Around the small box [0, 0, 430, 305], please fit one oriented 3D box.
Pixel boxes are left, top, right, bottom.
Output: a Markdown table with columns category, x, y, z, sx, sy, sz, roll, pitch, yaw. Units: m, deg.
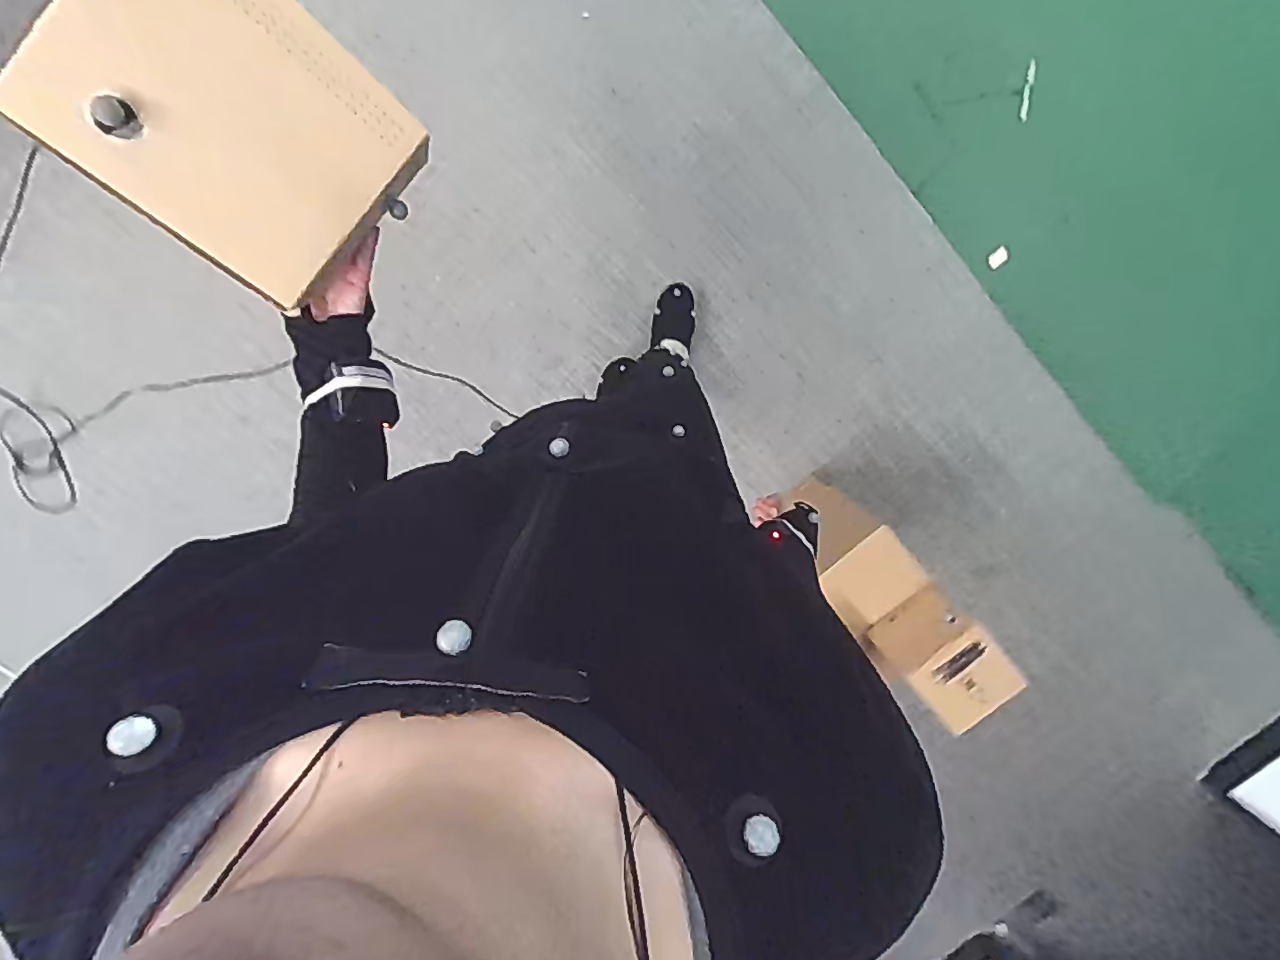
| category | x | y | z | sx | sy | sz | roll | pitch | yaw |
| --- | --- | --- | --- | --- | --- | --- | --- | --- | --- |
| small box | -0.288 | -0.266 | 0.414 | 0.179 | 0.168 | 0.176 | 36 | 97 | -30 |
